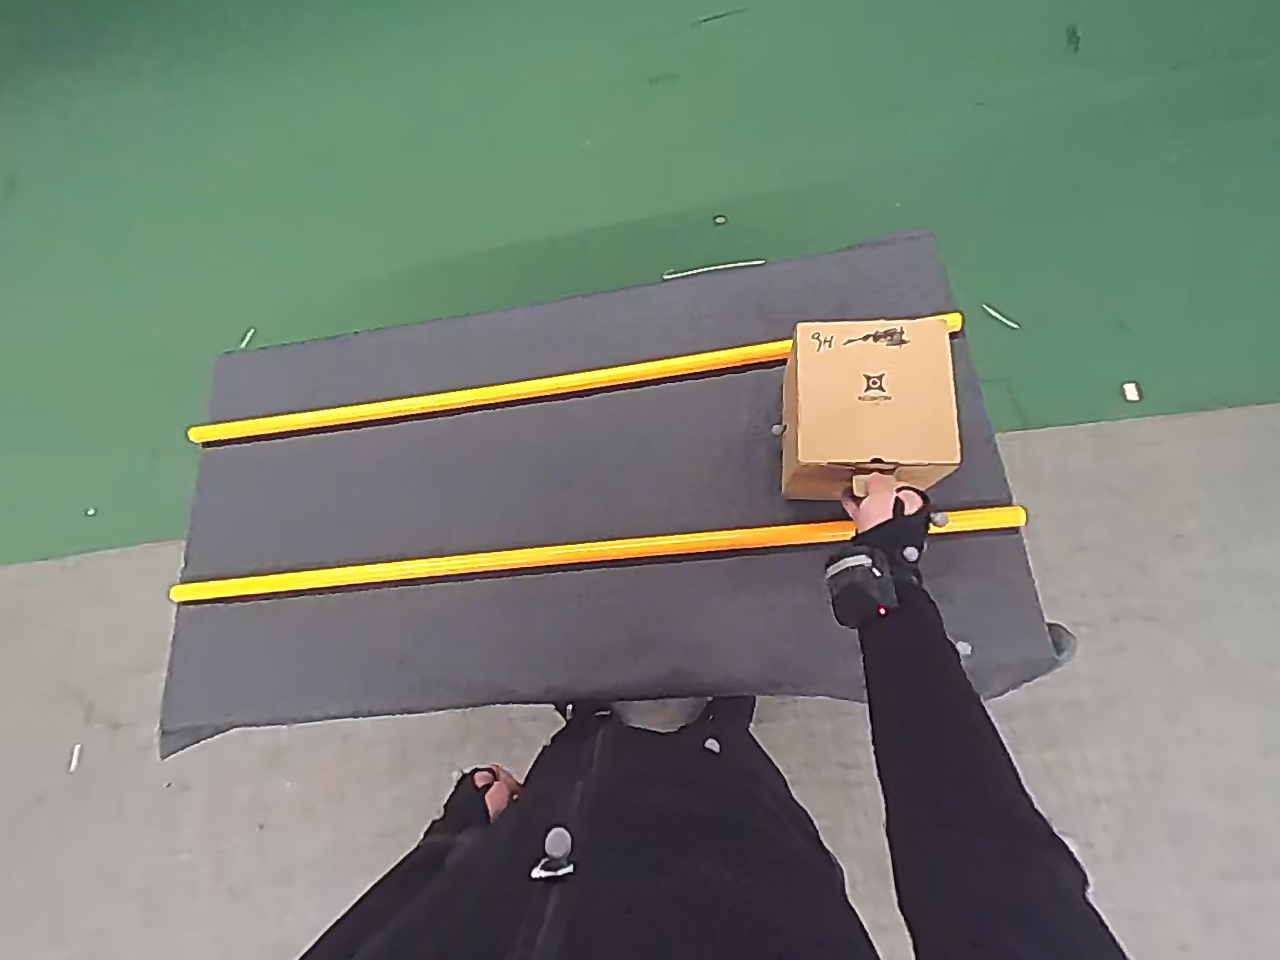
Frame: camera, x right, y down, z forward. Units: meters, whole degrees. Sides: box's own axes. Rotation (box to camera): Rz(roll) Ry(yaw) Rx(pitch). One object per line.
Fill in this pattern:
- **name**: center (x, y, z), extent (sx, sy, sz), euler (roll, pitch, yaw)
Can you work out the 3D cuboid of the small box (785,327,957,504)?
- **small box**: center (0.273, -0.068, 0.680), extent (0.168, 0.176, 0.179), euler (-2, 74, 11)
